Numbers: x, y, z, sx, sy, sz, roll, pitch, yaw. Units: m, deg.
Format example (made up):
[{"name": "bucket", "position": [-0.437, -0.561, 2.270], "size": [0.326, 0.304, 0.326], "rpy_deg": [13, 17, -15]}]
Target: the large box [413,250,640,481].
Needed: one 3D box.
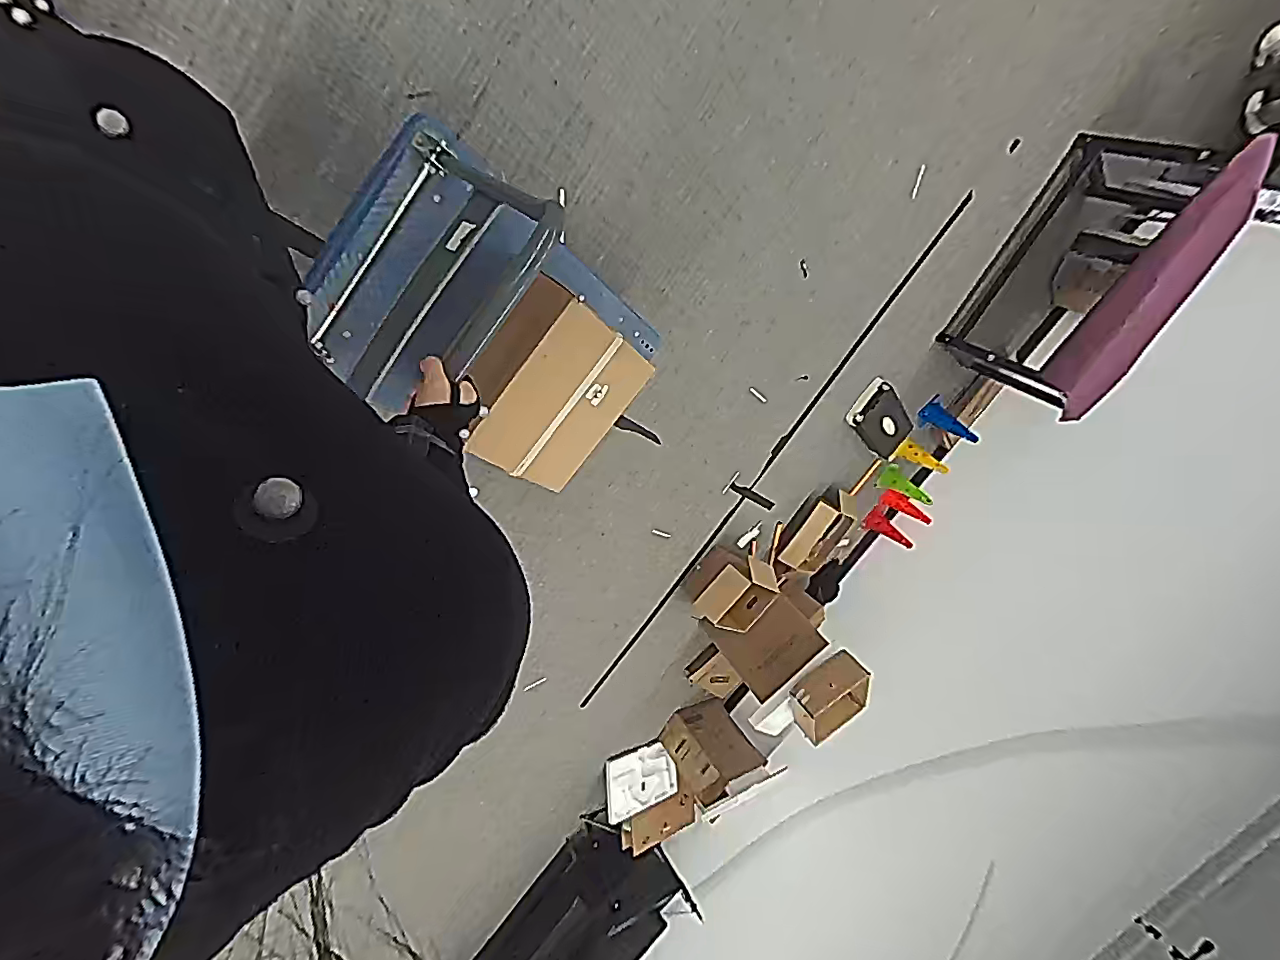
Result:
[{"name": "large box", "position": [-0.286, -0.275, 1.338], "size": [0.408, 0.320, 0.320], "rpy_deg": [-52, 141, 6]}]
